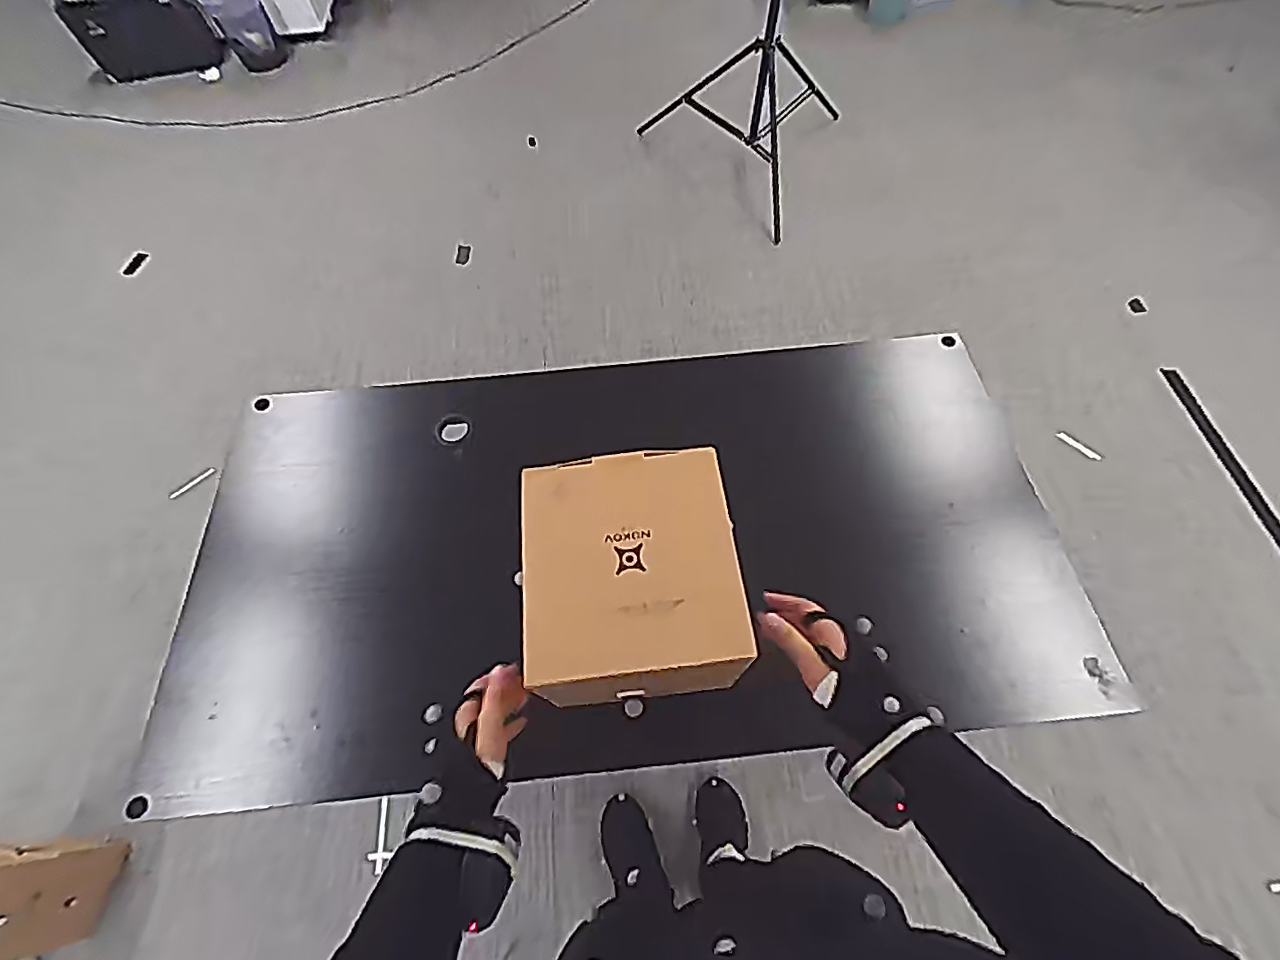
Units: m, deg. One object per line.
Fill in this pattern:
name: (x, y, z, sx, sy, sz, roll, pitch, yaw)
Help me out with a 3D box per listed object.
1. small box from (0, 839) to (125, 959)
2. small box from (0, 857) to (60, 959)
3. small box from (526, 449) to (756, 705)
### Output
small box: (-1.247, 0.863, 1.126, 0.168, 0.176, 0.179, 2, 63, 3)
small box: (-1.240, 0.791, 0.978, 0.179, 0.176, 0.168, -1, 61, 2)
small box: (-0.005, 0.095, 0.491, 0.168, 0.176, 0.179, -7, 63, -1)
